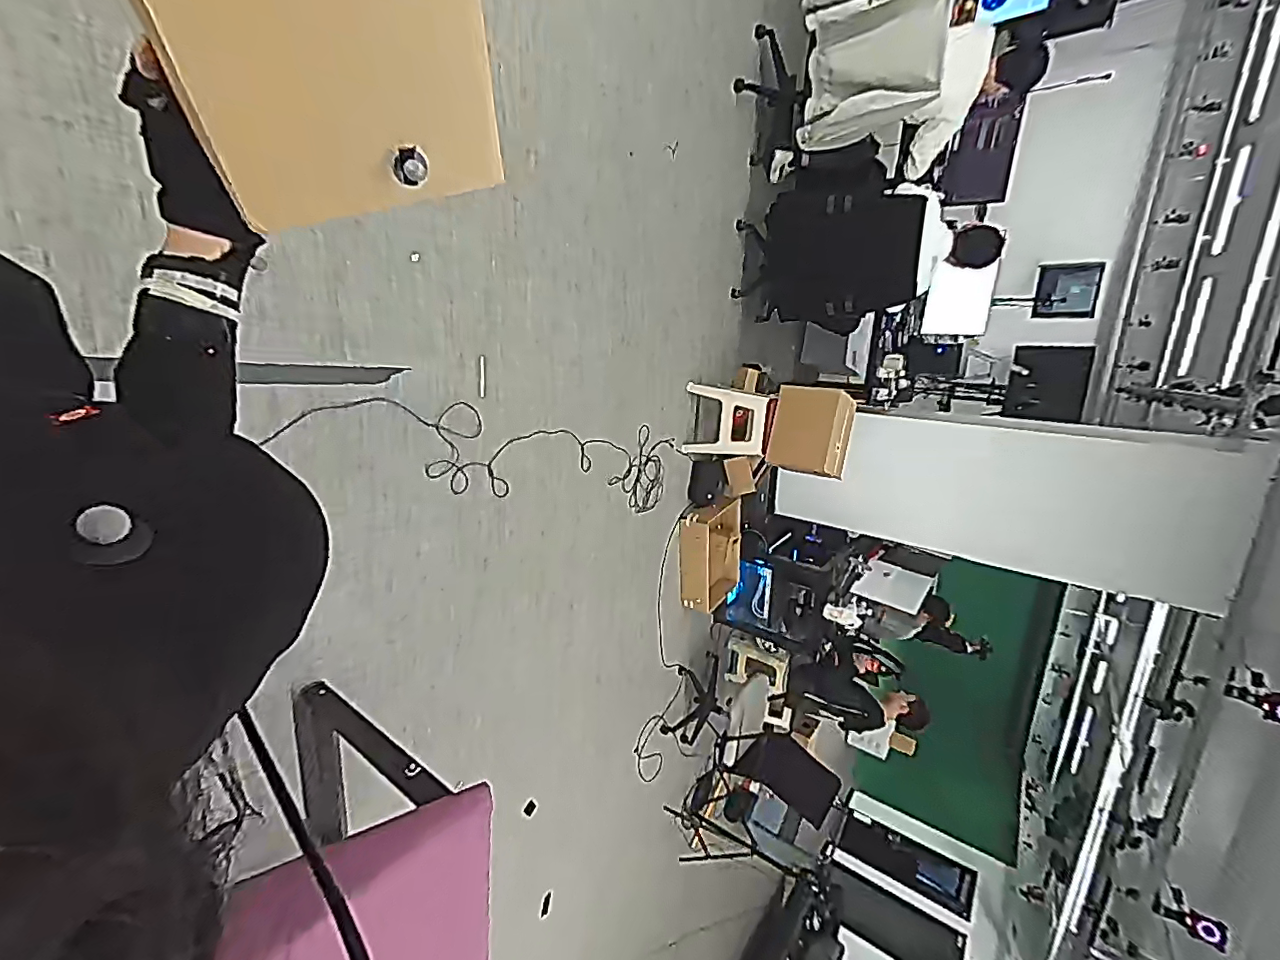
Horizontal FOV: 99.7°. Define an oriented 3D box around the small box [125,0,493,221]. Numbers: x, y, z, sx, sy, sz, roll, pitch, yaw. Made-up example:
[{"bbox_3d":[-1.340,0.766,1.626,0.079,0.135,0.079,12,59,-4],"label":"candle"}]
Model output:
[{"bbox_3d":[-0.211,-0.291,0.331,0.168,0.179,0.176,-27,146,-25],"label":"small box"}]
